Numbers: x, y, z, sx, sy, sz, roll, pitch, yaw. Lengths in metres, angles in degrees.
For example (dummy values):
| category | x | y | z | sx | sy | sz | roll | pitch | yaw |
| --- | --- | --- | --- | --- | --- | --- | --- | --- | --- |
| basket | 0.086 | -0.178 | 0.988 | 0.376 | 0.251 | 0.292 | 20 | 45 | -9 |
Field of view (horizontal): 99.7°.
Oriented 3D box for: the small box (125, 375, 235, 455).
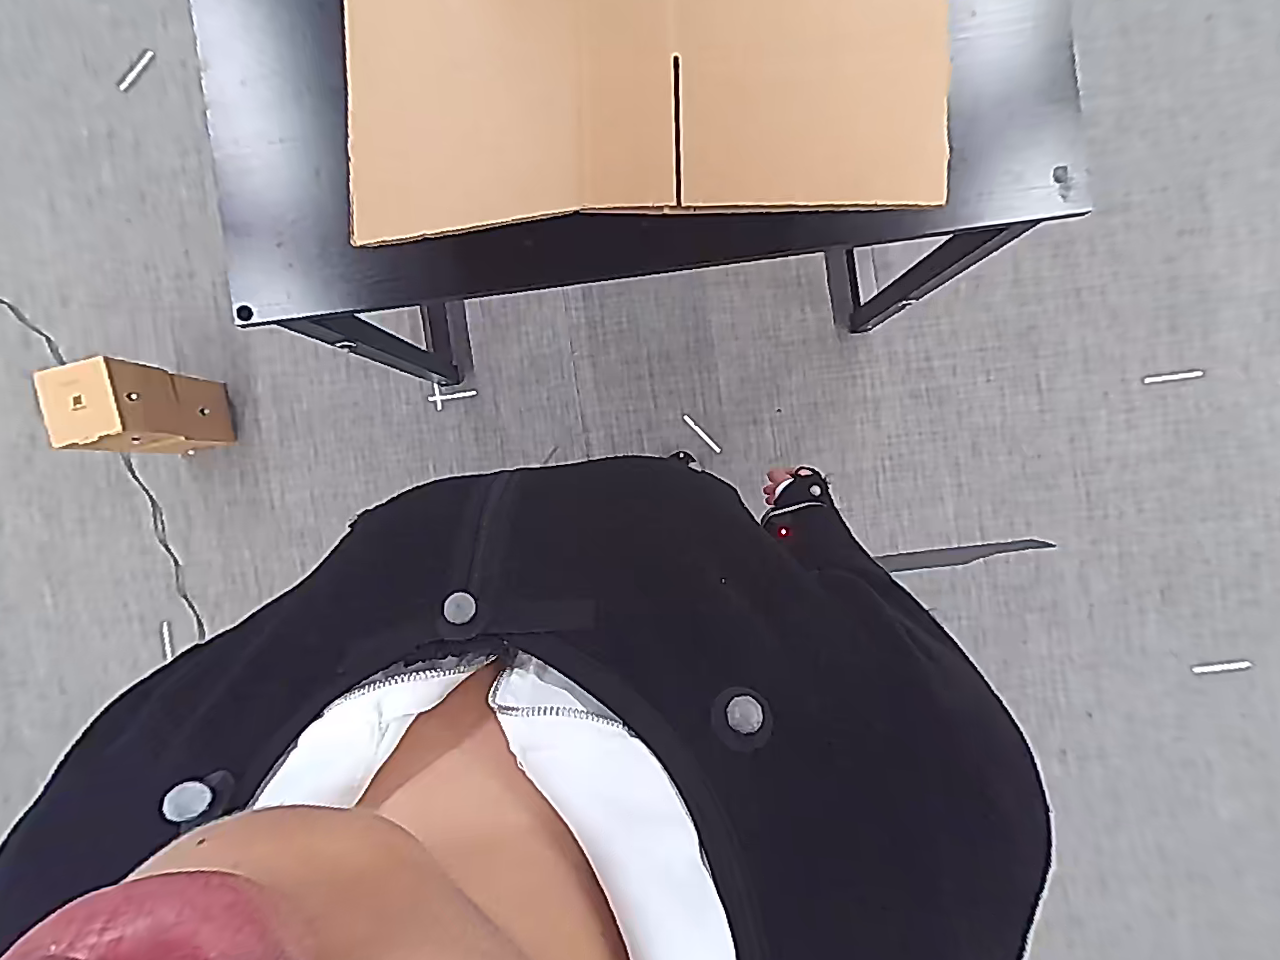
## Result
| category | x | y | z | sx | sy | sz | roll | pitch | yaw |
| --- | --- | --- | --- | --- | --- | --- | --- | --- | --- |
| small box | -1.230 | -0.168 | 1.438 | 0.168 | 0.176 | 0.179 | -11 | 92 | 2 |

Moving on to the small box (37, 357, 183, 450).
| category | x | y | z | sx | sy | sz | roll | pitch | yaw |
| --- | --- | --- | --- | --- | --- | --- | --- | --- | --- |
| small box | -1.236 | -0.171 | 1.276 | 0.168 | 0.176 | 0.179 | -14 | 89 | 1 |
